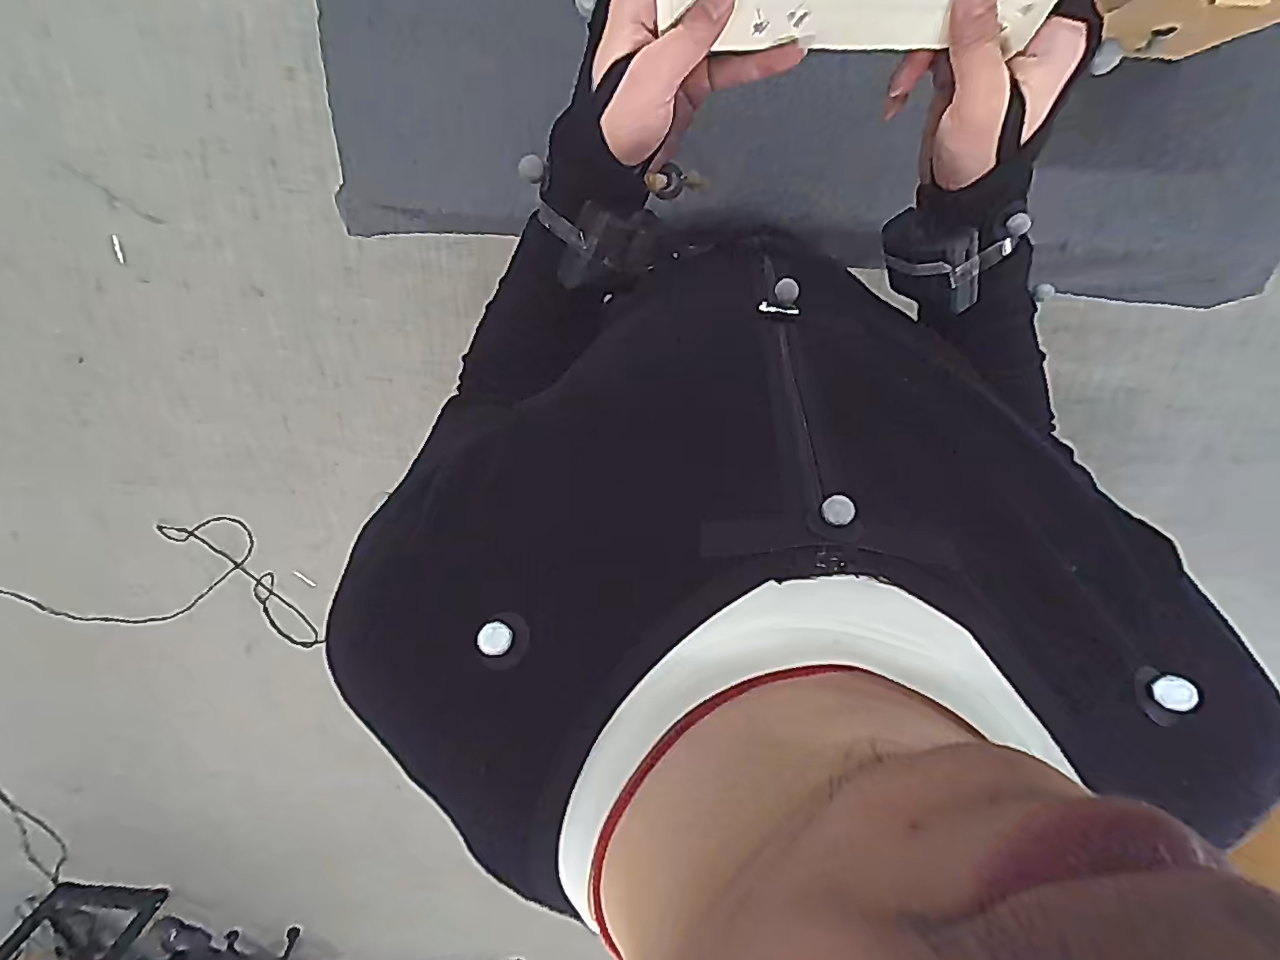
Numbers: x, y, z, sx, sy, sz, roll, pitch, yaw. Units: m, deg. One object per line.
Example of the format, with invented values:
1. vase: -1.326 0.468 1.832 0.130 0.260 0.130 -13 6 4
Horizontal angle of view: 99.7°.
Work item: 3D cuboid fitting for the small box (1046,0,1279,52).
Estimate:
1. small box: 0.530 -0.528 0.504 0.168 0.176 0.179 4 116 2
